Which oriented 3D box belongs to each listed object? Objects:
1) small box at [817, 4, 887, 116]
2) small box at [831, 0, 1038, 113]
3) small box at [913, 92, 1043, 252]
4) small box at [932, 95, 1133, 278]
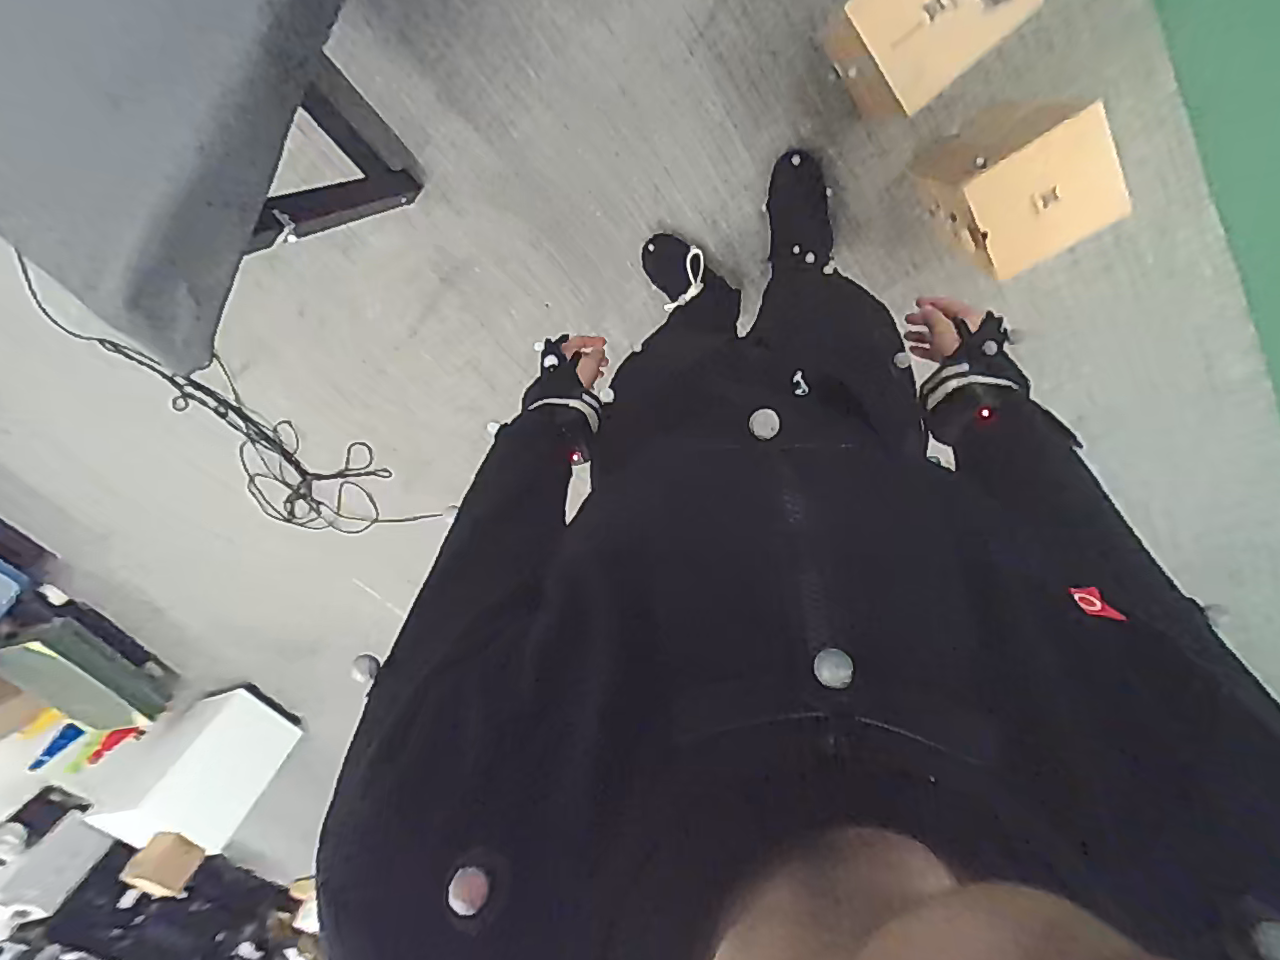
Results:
[{"bbox_3d":[0.404,-0.724,0.863,0.179,0.176,0.168,-34,111,30],"label":"small box"},{"bbox_3d":[0.381,-0.636,0.726,0.179,0.176,0.168,-35,111,30],"label":"small box"},{"bbox_3d":[0.605,-0.541,0.951,0.179,0.176,0.168,-29,116,29],"label":"small box"},{"bbox_3d":[0.581,-0.446,0.820,0.179,0.176,0.168,-29,115,27],"label":"small box"}]
